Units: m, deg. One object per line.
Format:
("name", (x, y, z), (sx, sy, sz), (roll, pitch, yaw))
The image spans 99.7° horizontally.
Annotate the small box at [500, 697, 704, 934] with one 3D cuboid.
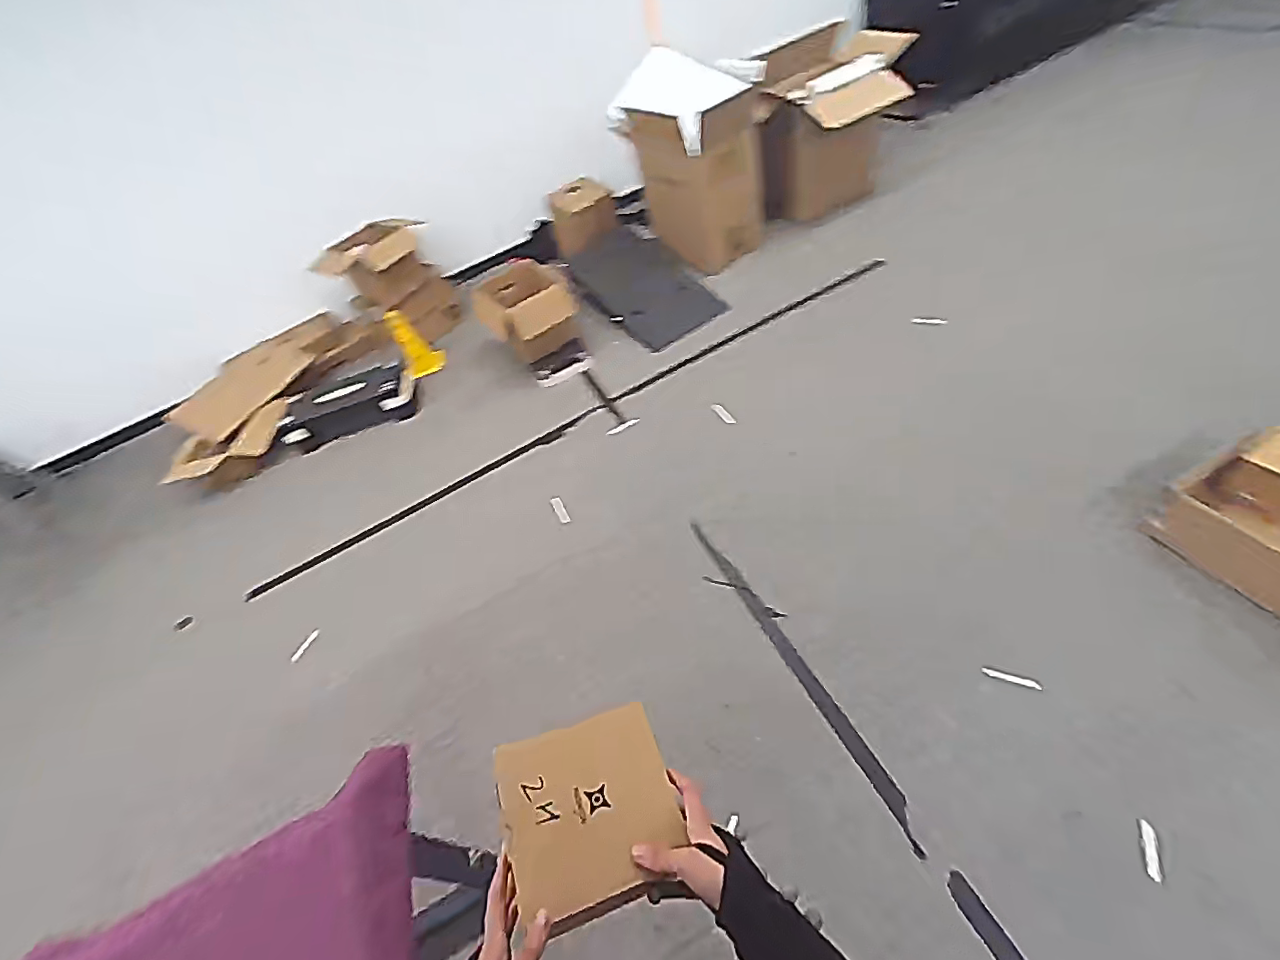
("small box", (-0.051, 0.376, 0.609), (0.179, 0.176, 0.168), (-11, 50, -17))
